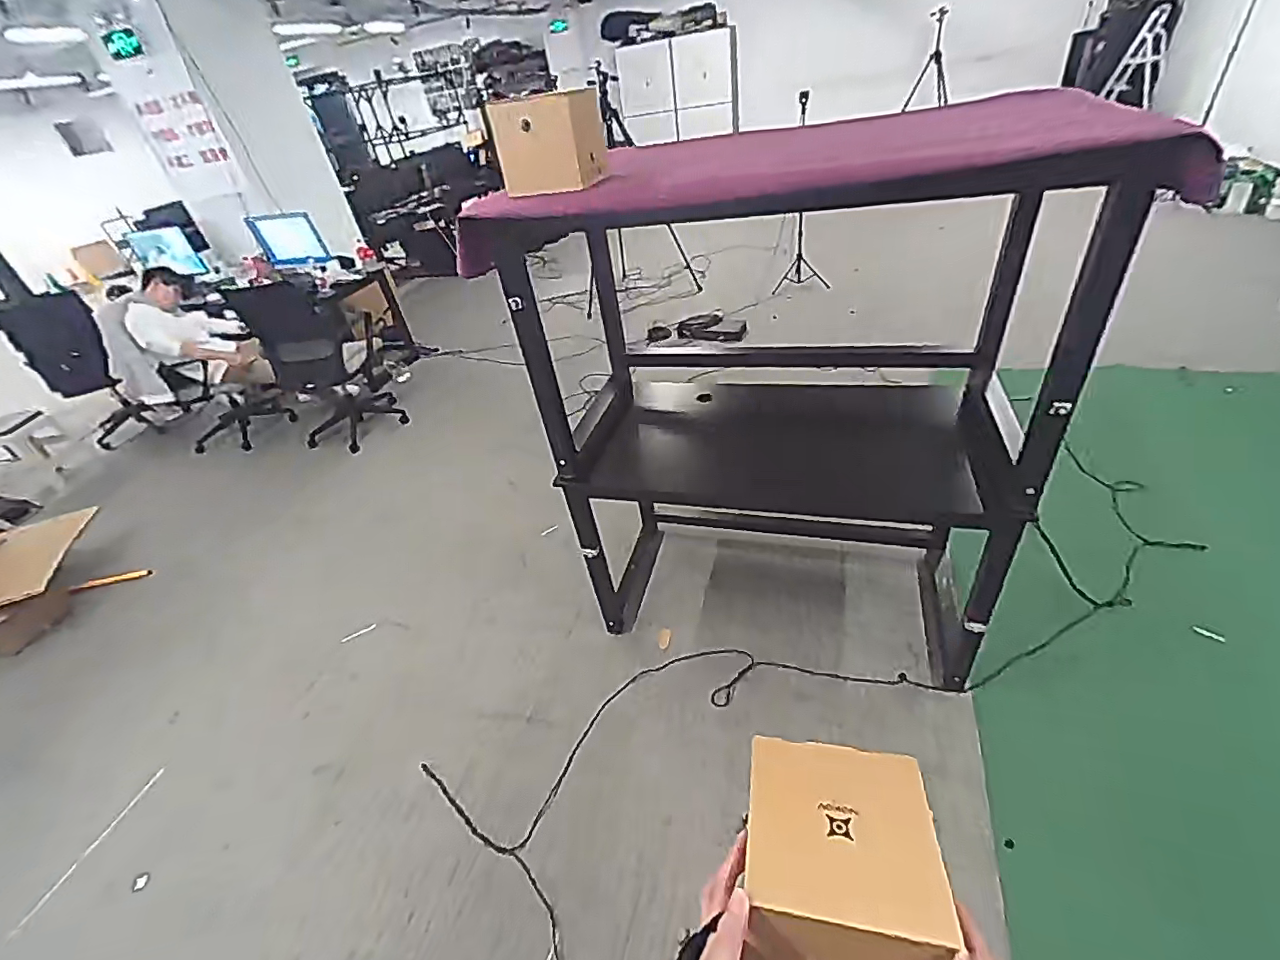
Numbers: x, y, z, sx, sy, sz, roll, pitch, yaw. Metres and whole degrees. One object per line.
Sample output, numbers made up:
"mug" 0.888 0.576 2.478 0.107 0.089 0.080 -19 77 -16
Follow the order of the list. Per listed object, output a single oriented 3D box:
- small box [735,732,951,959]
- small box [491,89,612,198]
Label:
"small box" 0.184 0.386 0.529 0.168 0.176 0.179 1 22 14
"small box" -0.175 -0.698 1.126 0.179 0.176 0.168 5 39 18
